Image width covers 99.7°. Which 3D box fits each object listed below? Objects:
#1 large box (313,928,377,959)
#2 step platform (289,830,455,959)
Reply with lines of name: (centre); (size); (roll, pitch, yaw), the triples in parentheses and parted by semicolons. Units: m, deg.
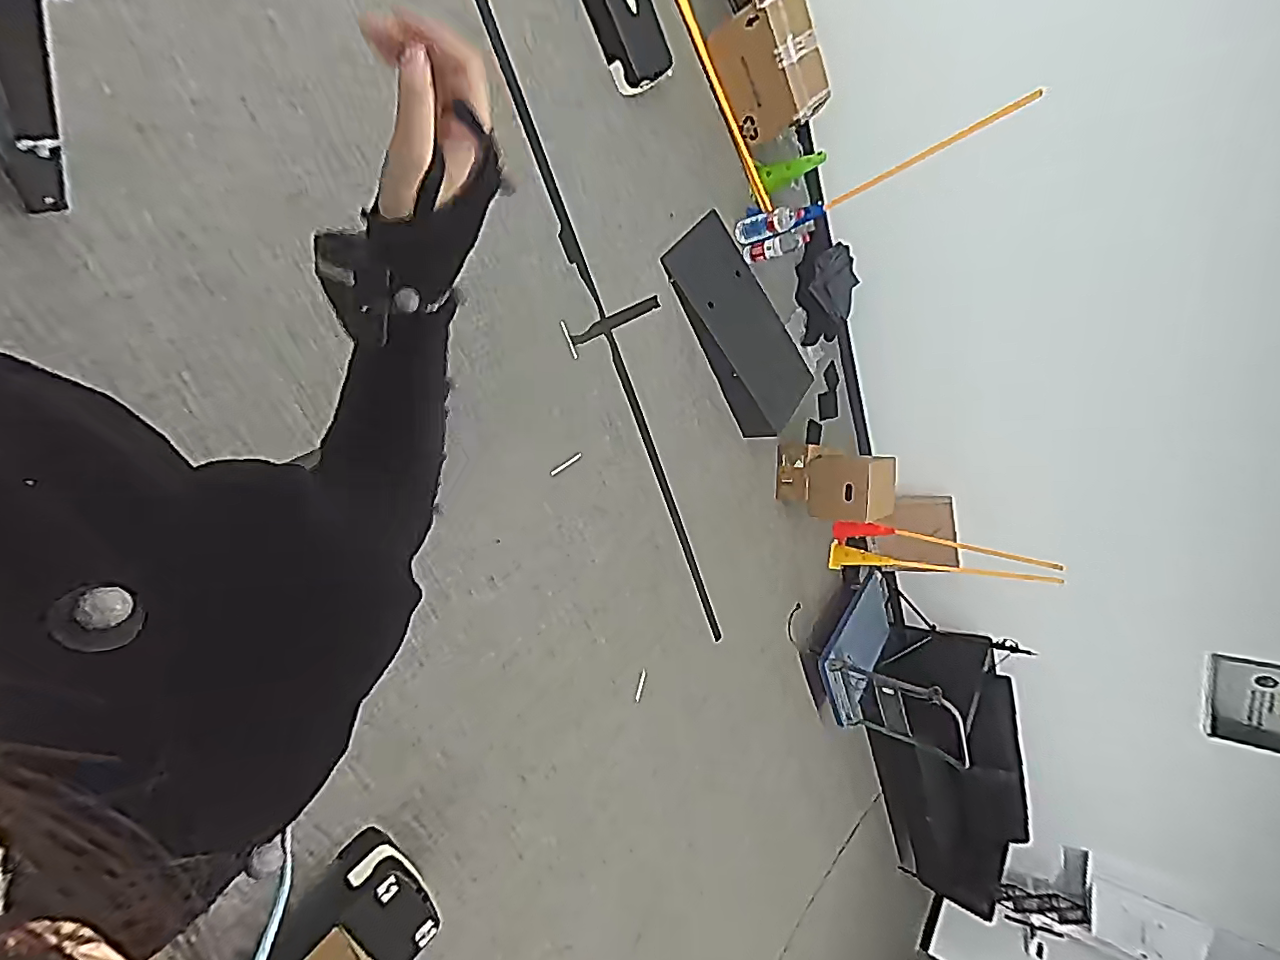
large box: (-0.653, 1.273, 1.094); (0.408, 0.320, 0.320); (-40, 119, -39)
step platform: (-0.797, 1.227, 1.287); (0.684, 0.204, 0.286); (-33, 114, -41)
